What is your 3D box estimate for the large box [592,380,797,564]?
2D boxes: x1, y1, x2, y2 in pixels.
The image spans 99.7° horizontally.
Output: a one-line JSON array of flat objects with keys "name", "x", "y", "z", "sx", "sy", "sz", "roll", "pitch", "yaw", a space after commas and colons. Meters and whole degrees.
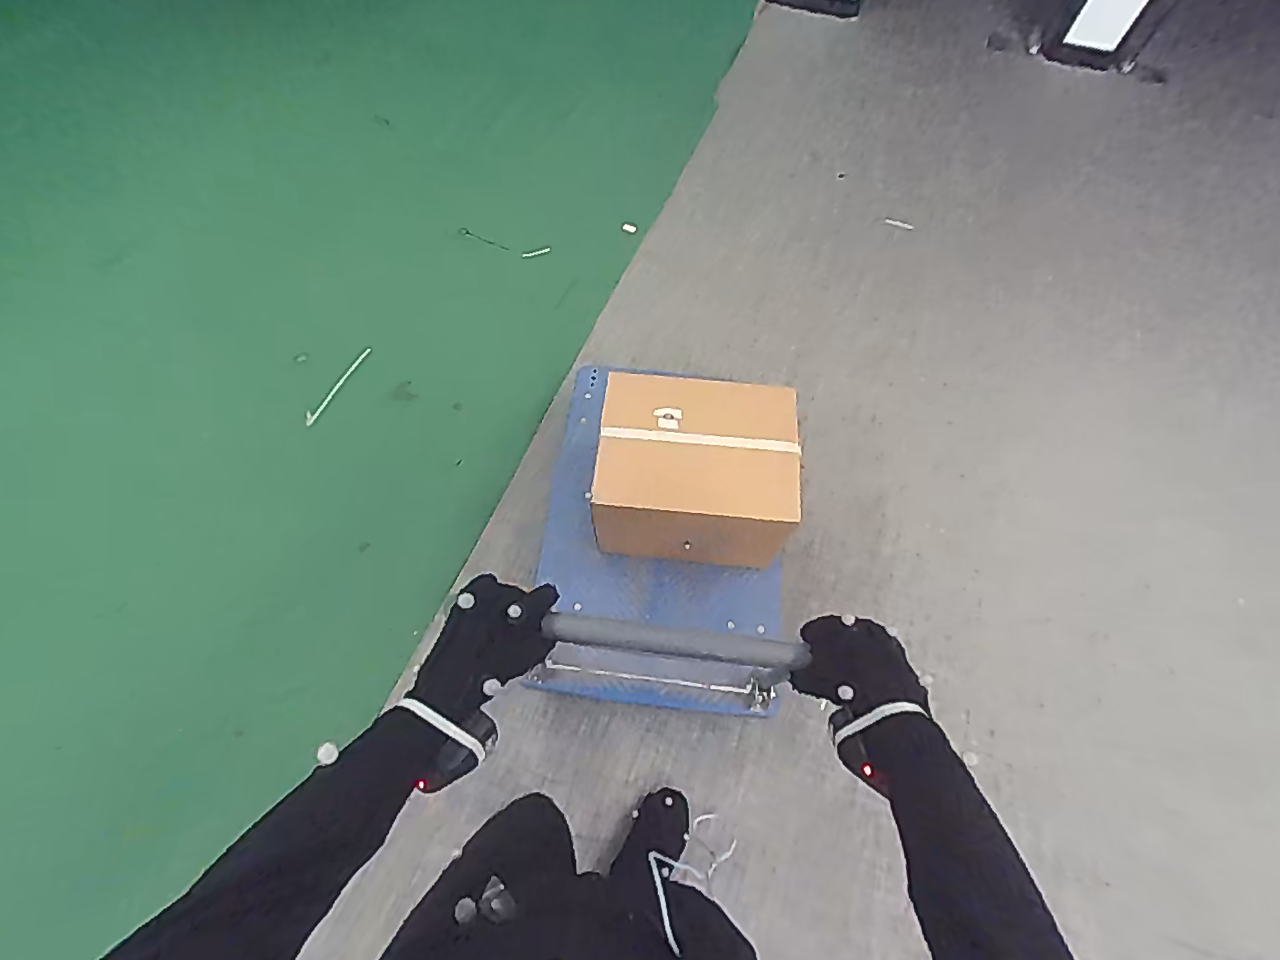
[{"name": "large box", "x": 0.120, "y": -0.006, "z": 1.240, "sx": 0.408, "sy": 0.320, "sz": 0.320, "roll": 5, "pitch": 64, "yaw": 3}]
